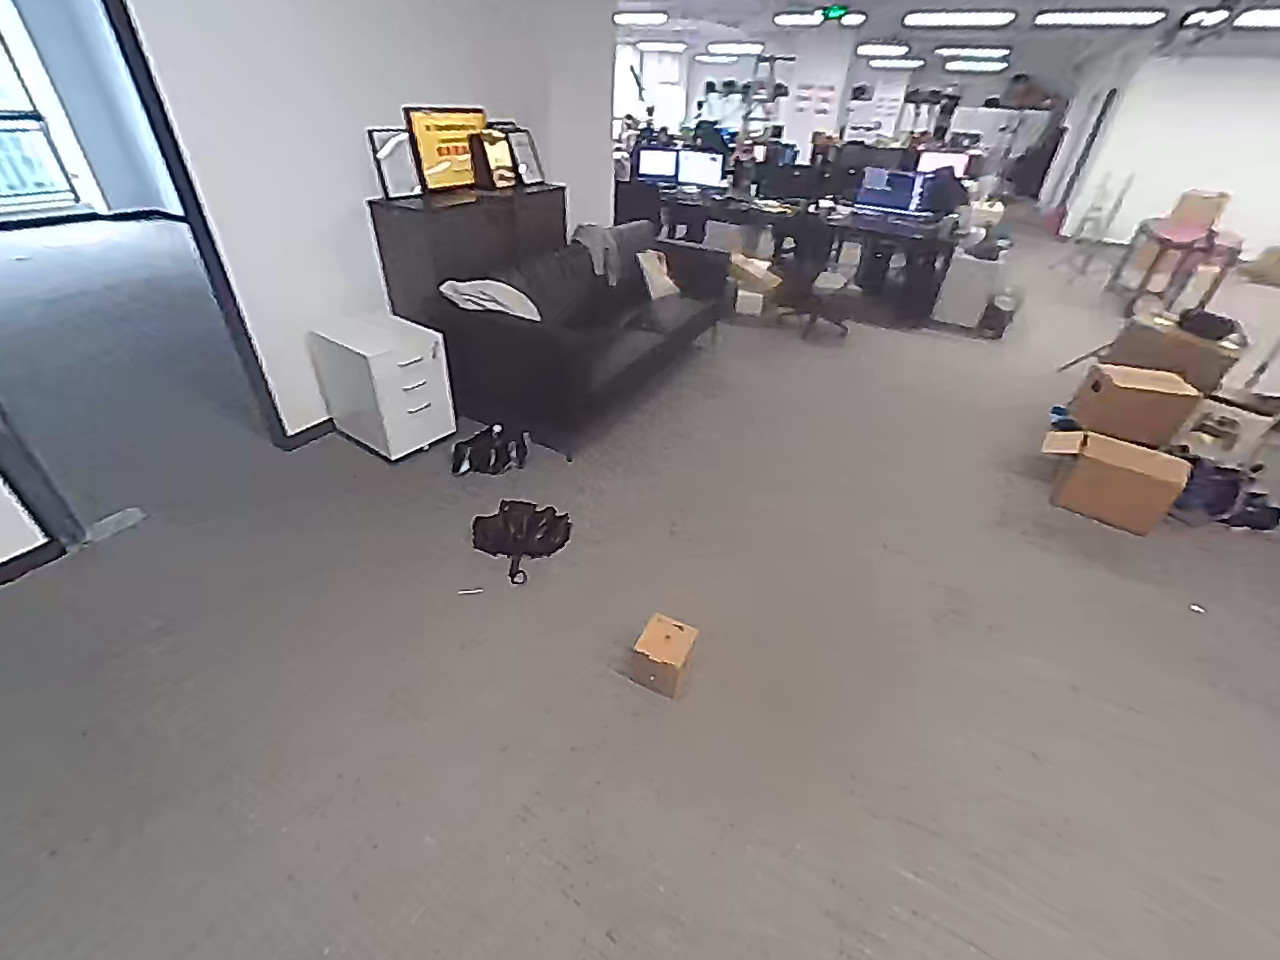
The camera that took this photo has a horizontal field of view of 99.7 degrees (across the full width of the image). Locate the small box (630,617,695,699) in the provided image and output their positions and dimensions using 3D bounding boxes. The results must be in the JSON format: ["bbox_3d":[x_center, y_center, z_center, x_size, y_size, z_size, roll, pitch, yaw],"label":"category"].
[{"bbox_3d":[0.075,0.604,1.829,0.168,0.176,0.179,17,37,19],"label":"small box"}]
